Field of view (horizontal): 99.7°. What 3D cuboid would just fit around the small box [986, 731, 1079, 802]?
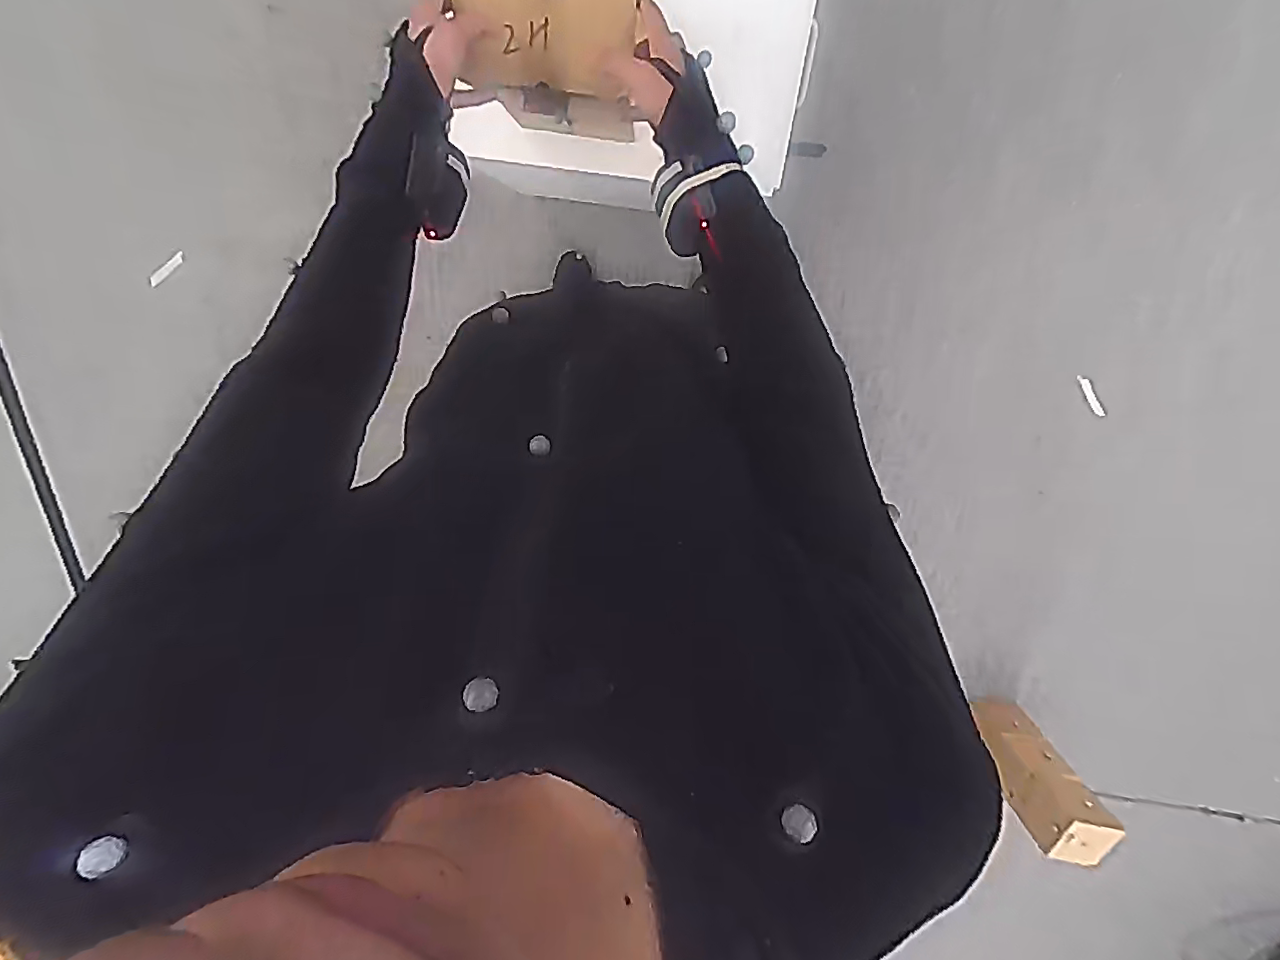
[{"bbox_3d":[1.328,0.988,1.847,0.168,0.176,0.179,6,112,-4],"label":"small box"}]

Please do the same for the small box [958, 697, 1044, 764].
[{"bbox_3d":[1.326,0.925,1.996,0.179,0.176,0.168,5,112,-3],"label":"small box"}]

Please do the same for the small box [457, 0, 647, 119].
[{"bbox_3d":[-0.079,-0.483,0.543,0.168,0.176,0.179,6,120,-2],"label":"small box"}]

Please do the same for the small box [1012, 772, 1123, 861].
[{"bbox_3d":[1.329,1.048,1.694,0.179,0.176,0.168,13,112,-7],"label":"small box"}]
